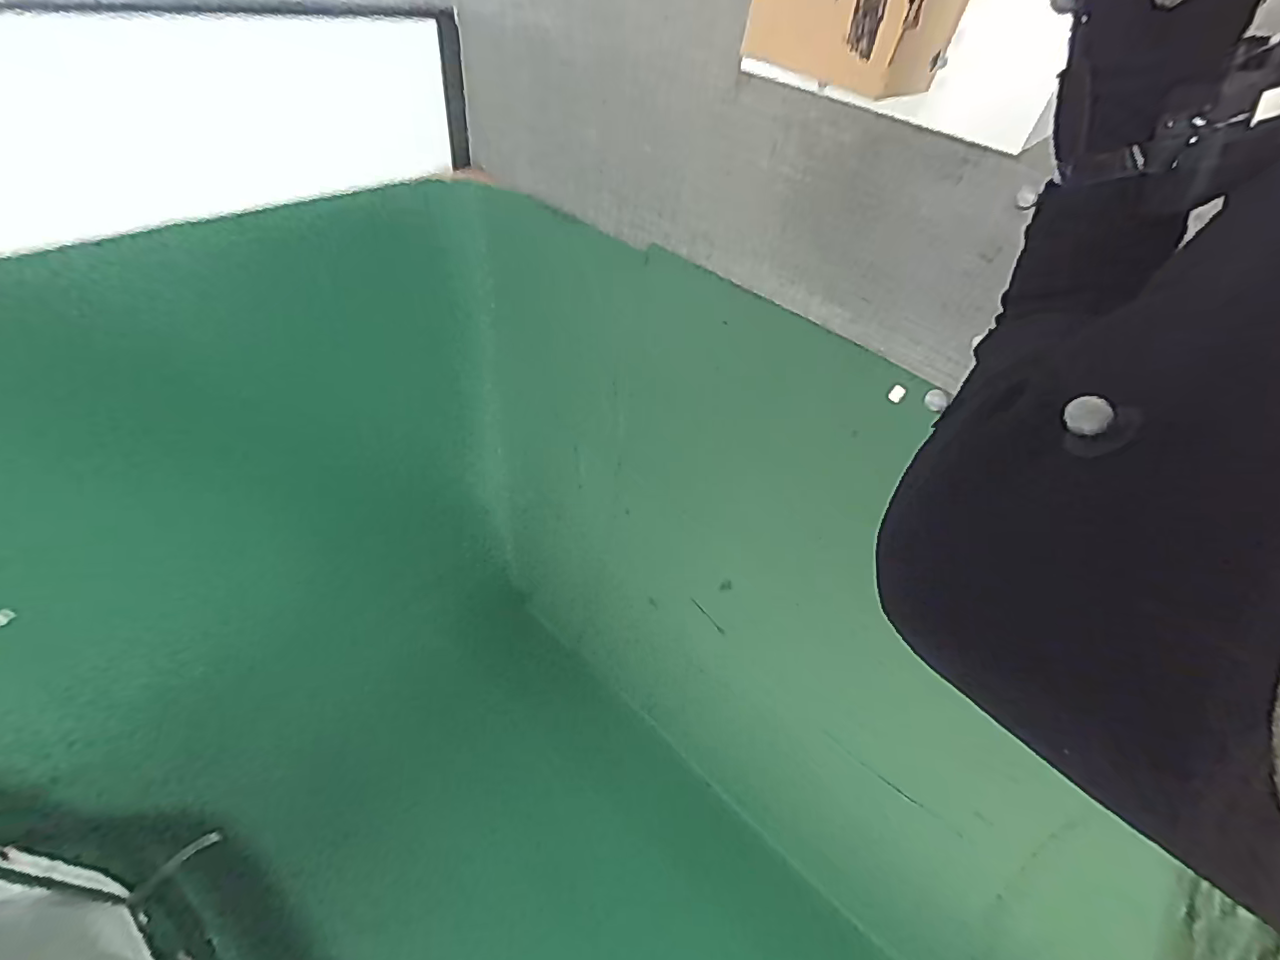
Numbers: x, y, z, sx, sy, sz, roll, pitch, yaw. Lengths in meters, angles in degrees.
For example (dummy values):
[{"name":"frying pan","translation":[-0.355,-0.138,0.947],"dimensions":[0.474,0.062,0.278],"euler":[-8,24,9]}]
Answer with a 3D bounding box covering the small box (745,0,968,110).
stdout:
[{"name":"small box","translation":[0.251,-0.531,0.591],"dimensions":[0.179,0.176,0.168],"euler":[37,140,22]}]
